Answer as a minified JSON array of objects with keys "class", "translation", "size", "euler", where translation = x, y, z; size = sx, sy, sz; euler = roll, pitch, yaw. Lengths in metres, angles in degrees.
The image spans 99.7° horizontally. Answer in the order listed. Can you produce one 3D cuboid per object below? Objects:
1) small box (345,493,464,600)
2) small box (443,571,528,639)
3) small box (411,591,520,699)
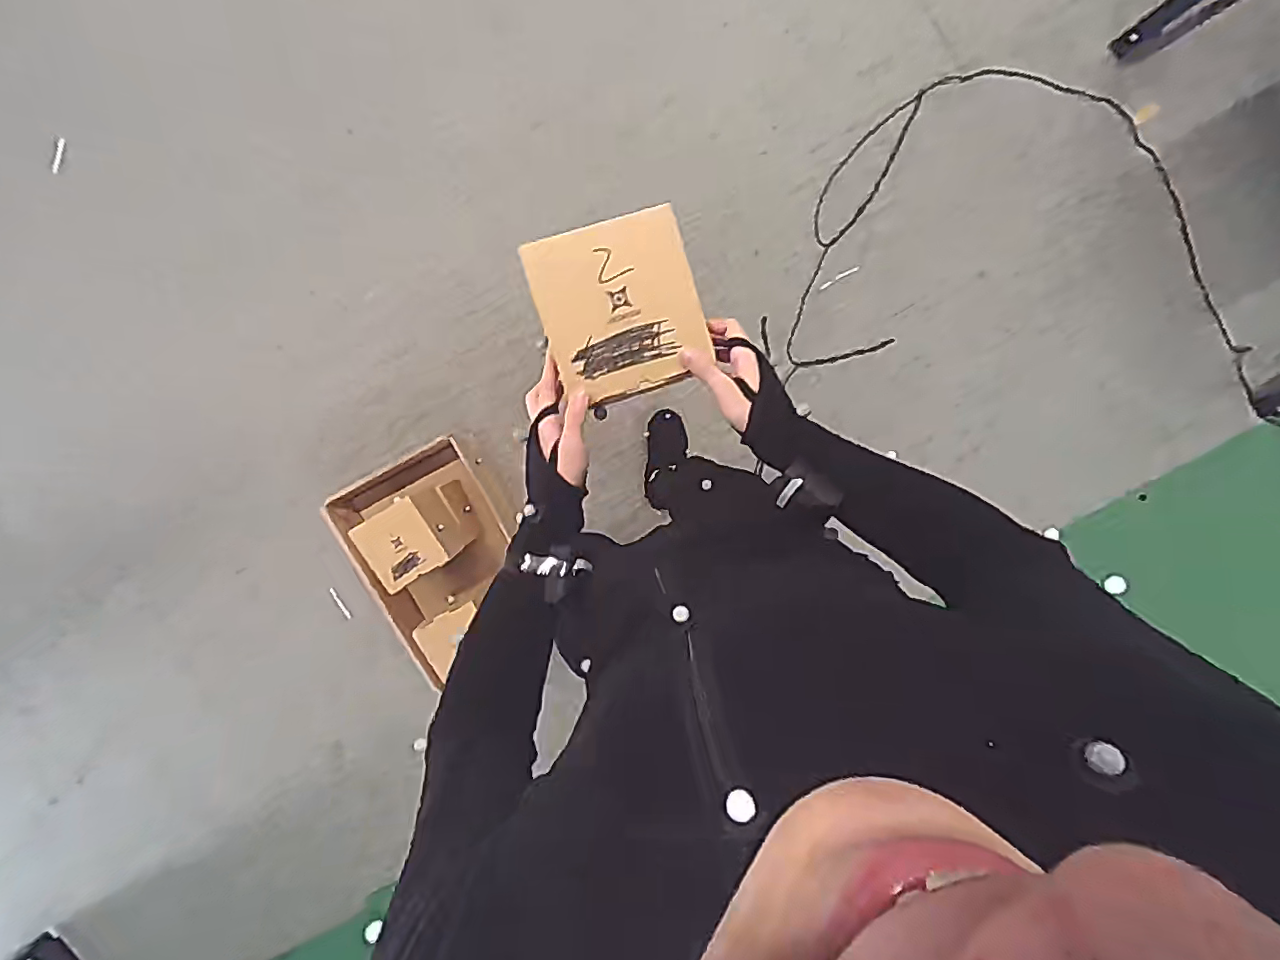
[{"class":"small box","translation":[-0.550,0.150,1.293],"size":[0.168,0.176,0.179],"euler":[-31,97,1]},{"class":"small box","translation":[-0.425,0.375,1.491],"size":[0.179,0.176,0.168],"euler":[-28,97,3]},{"class":"small box","translation":[-0.419,0.391,1.327],"size":[0.168,0.176,0.179],"euler":[-29,96,3]}]
